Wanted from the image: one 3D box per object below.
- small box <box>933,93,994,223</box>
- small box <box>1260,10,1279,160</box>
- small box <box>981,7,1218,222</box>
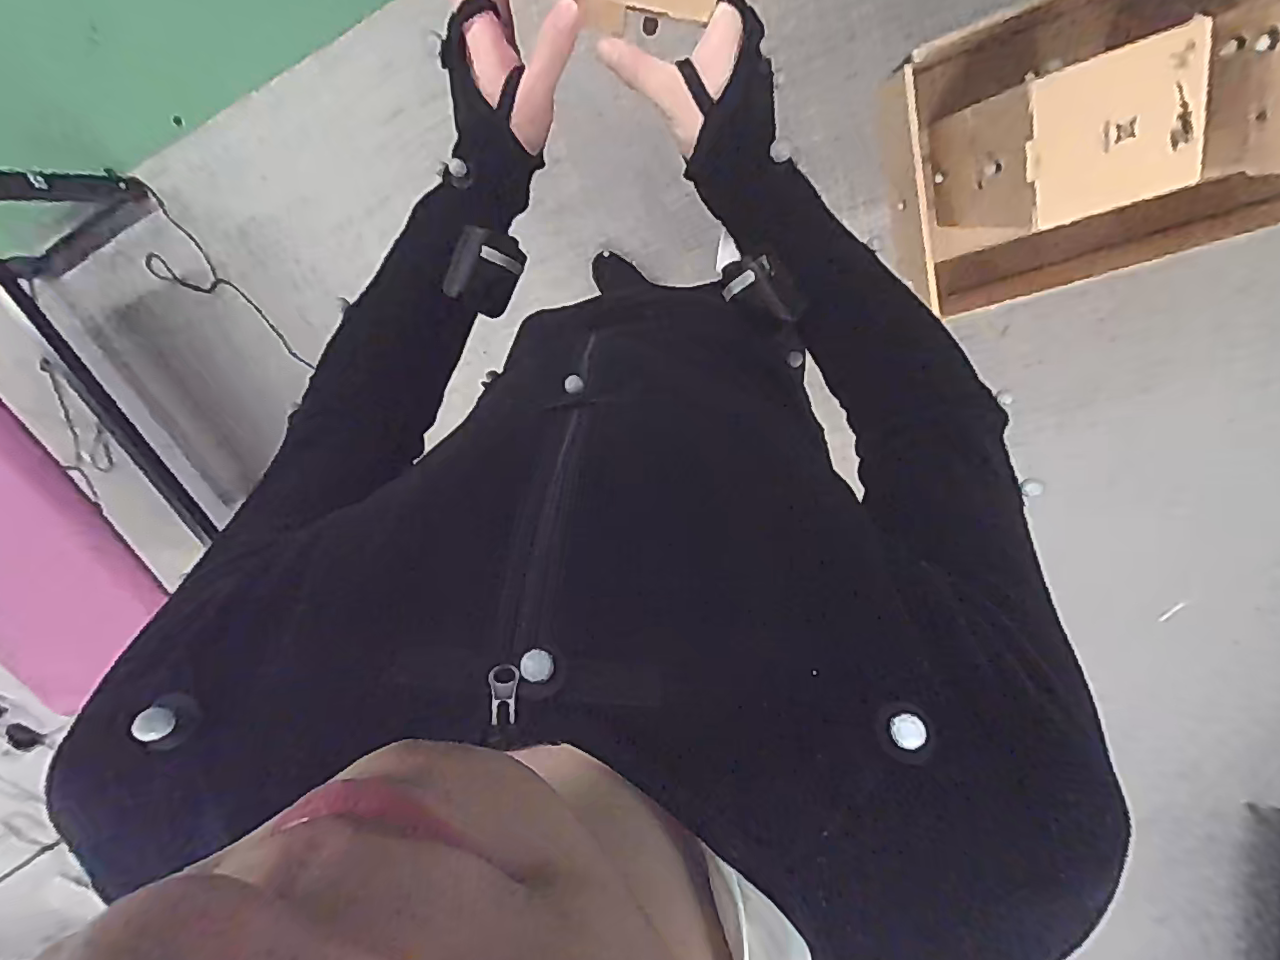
[{"bbox_3d":[0.579,-0.510,0.830,0.179,0.176,0.168,-14,113,14],"label":"small box"},{"bbox_3d":[0.735,-0.414,0.490,0.179,0.176,0.168,-16,113,19],"label":"small box"},{"bbox_3d":[0.556,-0.439,0.685,0.179,0.176,0.168,-13,114,15],"label":"small box"}]
